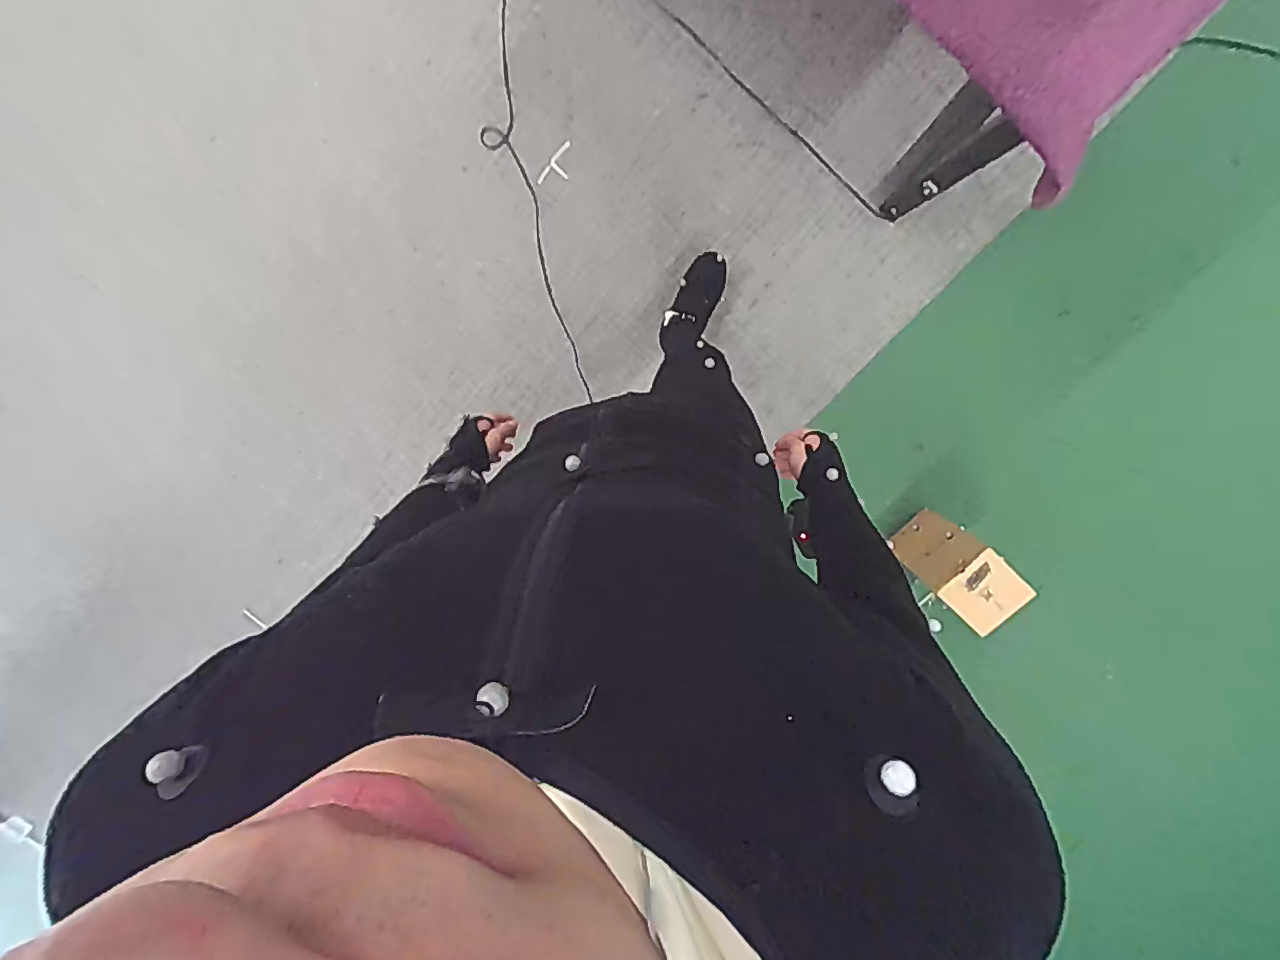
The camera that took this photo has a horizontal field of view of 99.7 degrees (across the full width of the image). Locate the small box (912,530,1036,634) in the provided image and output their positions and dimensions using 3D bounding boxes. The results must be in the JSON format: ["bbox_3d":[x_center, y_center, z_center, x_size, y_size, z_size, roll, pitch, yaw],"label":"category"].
[{"bbox_3d":[0.841,0.248,1.382,0.179,0.176,0.168,41,103,-8],"label":"small box"}]

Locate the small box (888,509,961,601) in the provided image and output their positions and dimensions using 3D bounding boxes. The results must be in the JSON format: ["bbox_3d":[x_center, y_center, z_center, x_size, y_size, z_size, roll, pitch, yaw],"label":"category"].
[{"bbox_3d":[0.850,0.209,1.540,0.179,0.176,0.168,42,102,-7],"label":"small box"}]
